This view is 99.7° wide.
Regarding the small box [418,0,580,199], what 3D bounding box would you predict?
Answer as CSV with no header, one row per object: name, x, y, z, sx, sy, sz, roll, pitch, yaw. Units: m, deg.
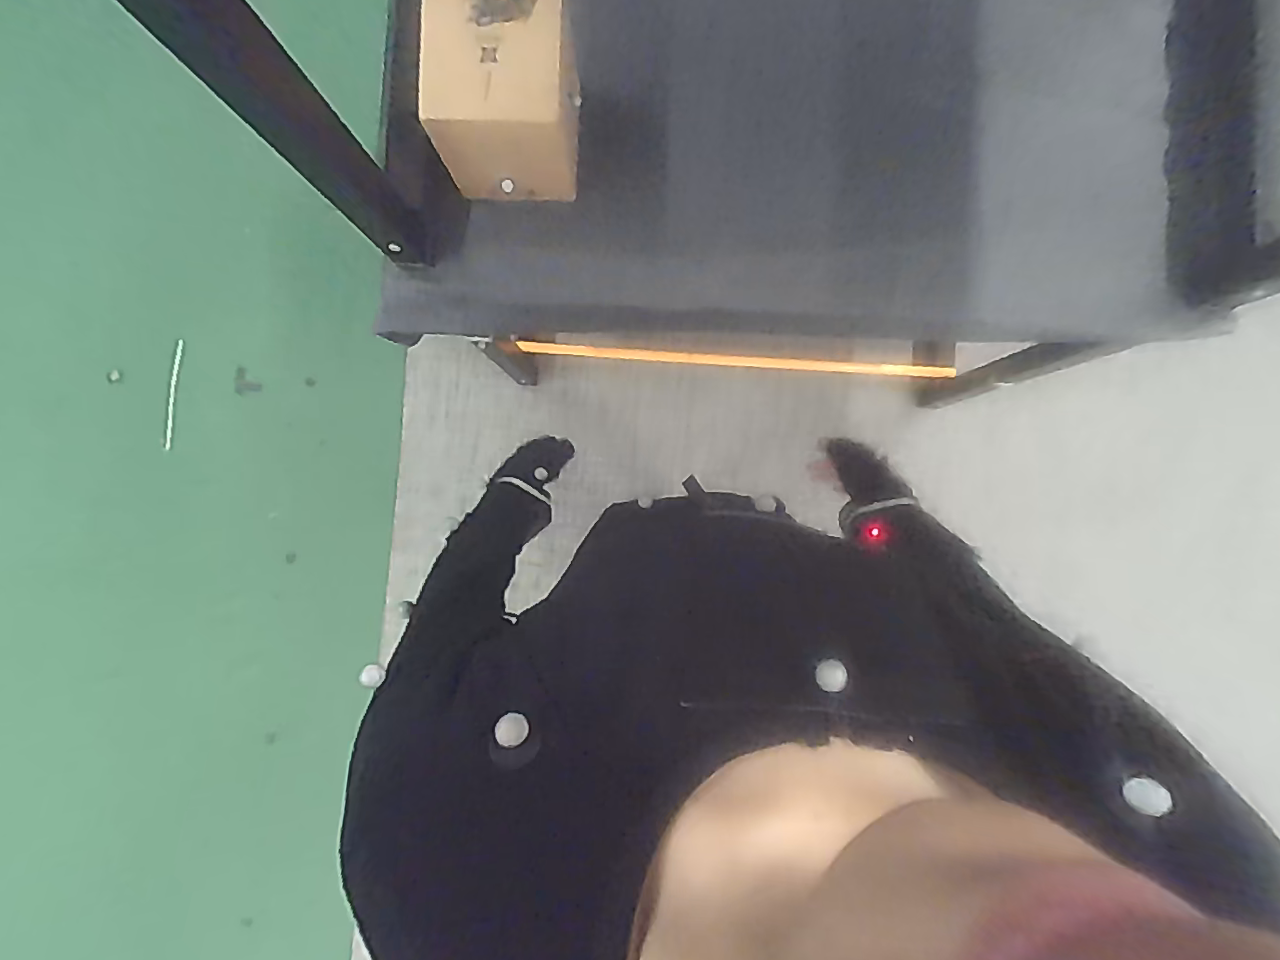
small box,-0.171,-0.500,0.704,0.168,0.176,0.179,1,88,1
